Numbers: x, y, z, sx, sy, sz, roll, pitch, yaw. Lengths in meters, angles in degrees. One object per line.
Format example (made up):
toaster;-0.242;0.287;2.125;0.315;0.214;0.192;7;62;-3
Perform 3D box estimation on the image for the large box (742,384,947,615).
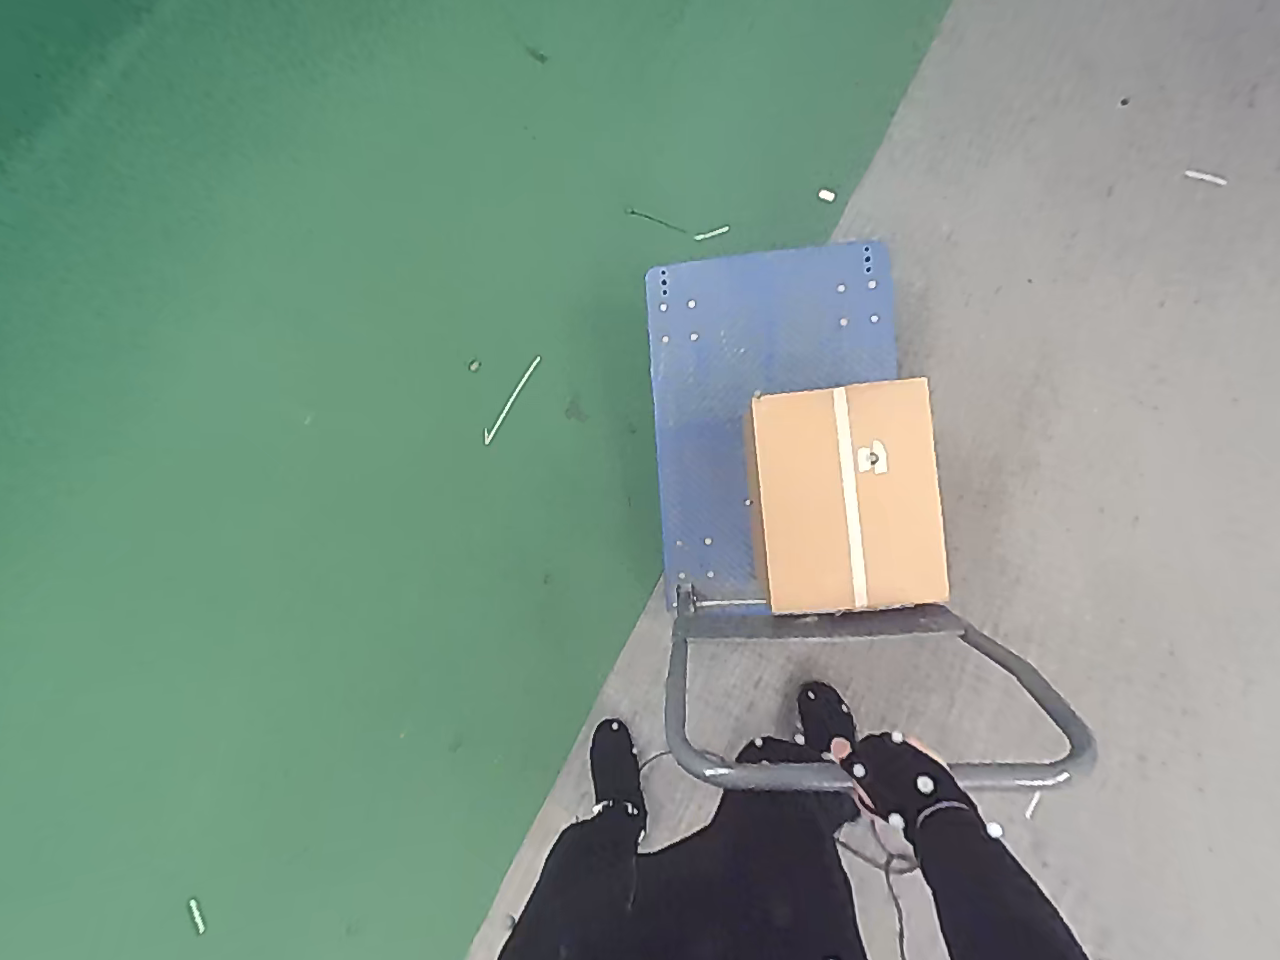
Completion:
large box;0.398;0.043;1.140;0.320;0.320;0.408;-6;88;6
